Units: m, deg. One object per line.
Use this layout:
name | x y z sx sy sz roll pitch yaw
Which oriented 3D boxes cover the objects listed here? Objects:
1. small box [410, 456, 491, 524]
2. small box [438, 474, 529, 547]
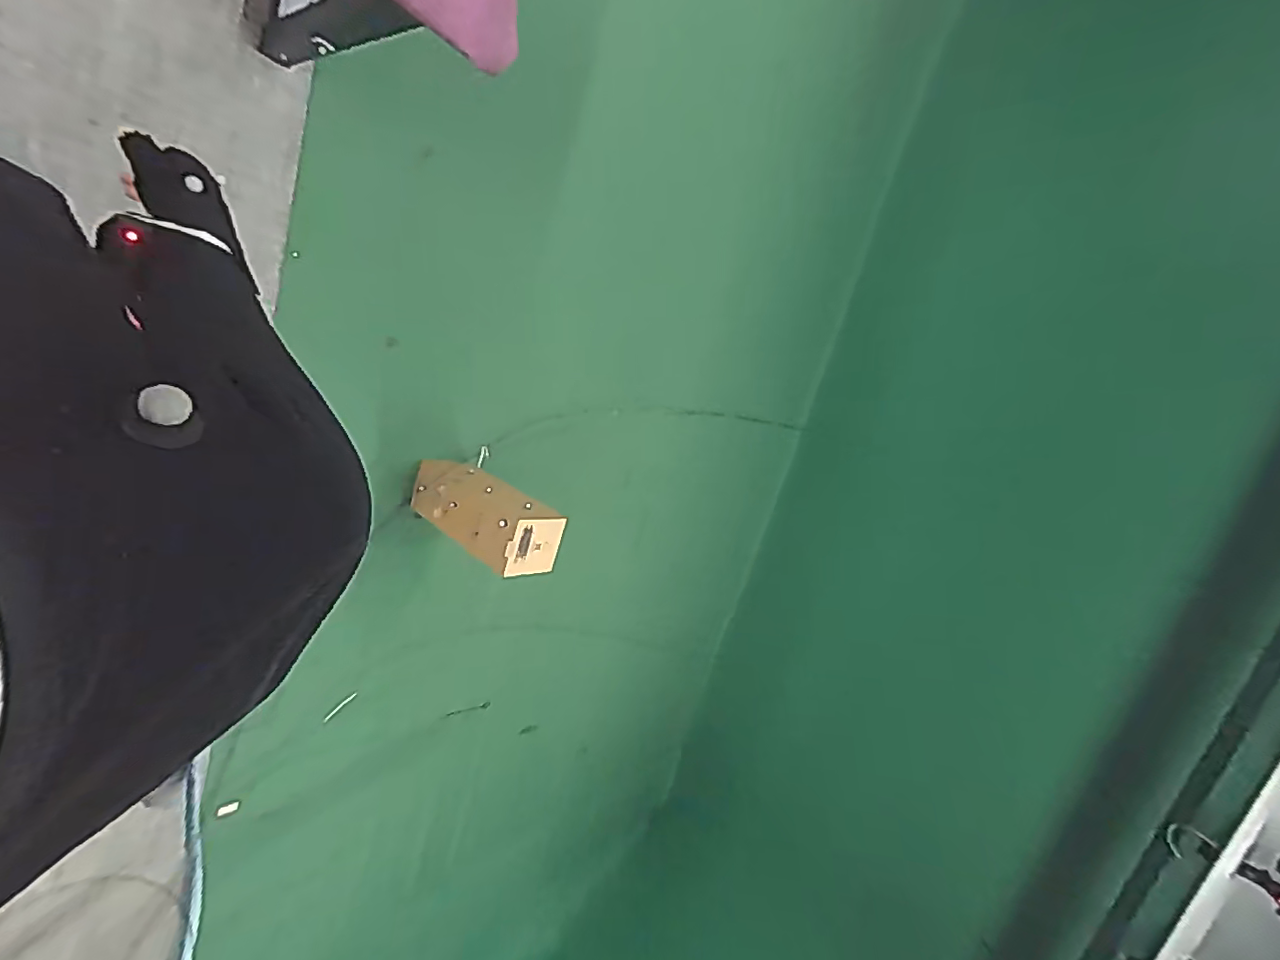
small box | -0.588 0.032 1.704 0.179 0.176 0.168 6 106 -53
small box | -0.468 0.087 1.610 0.179 0.176 0.168 4 108 -52
